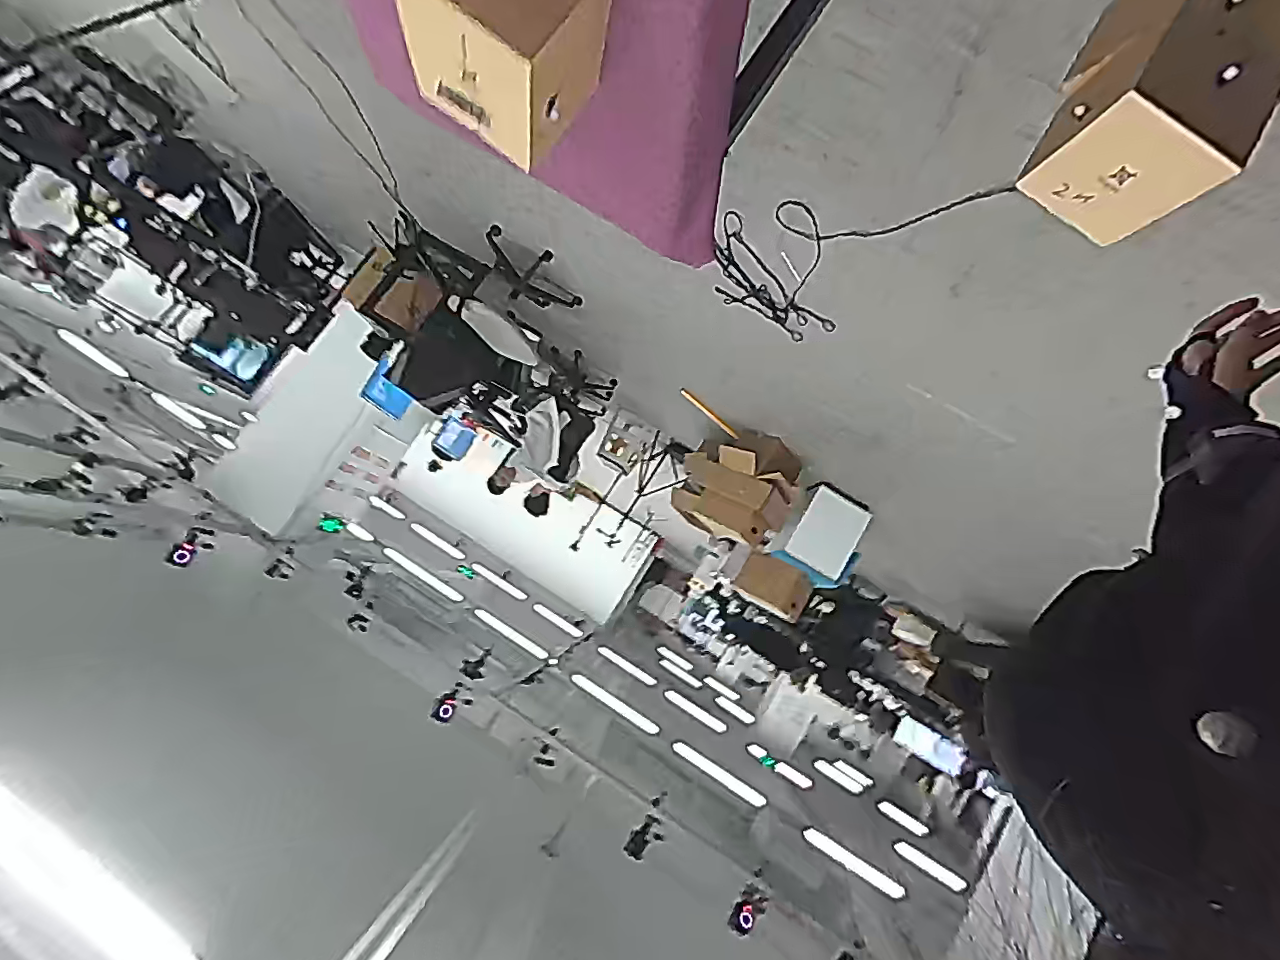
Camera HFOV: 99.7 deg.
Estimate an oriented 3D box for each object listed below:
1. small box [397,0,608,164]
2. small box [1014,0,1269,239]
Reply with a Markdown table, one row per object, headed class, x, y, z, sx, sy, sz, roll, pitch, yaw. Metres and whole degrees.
| class | x | y | z | sx | sy | sz | roll | pitch | yaw |
| --- | --- | --- | --- | --- | --- | --- | --- | --- | --- |
| small box | -0.150 | -0.525 | 0.619 | 0.168 | 0.176 | 0.179 | 33 | 170 | -8 |
| small box | 0.664 | -0.475 | 0.722 | 0.168 | 0.176 | 0.179 | 34 | 172 | -3 |
